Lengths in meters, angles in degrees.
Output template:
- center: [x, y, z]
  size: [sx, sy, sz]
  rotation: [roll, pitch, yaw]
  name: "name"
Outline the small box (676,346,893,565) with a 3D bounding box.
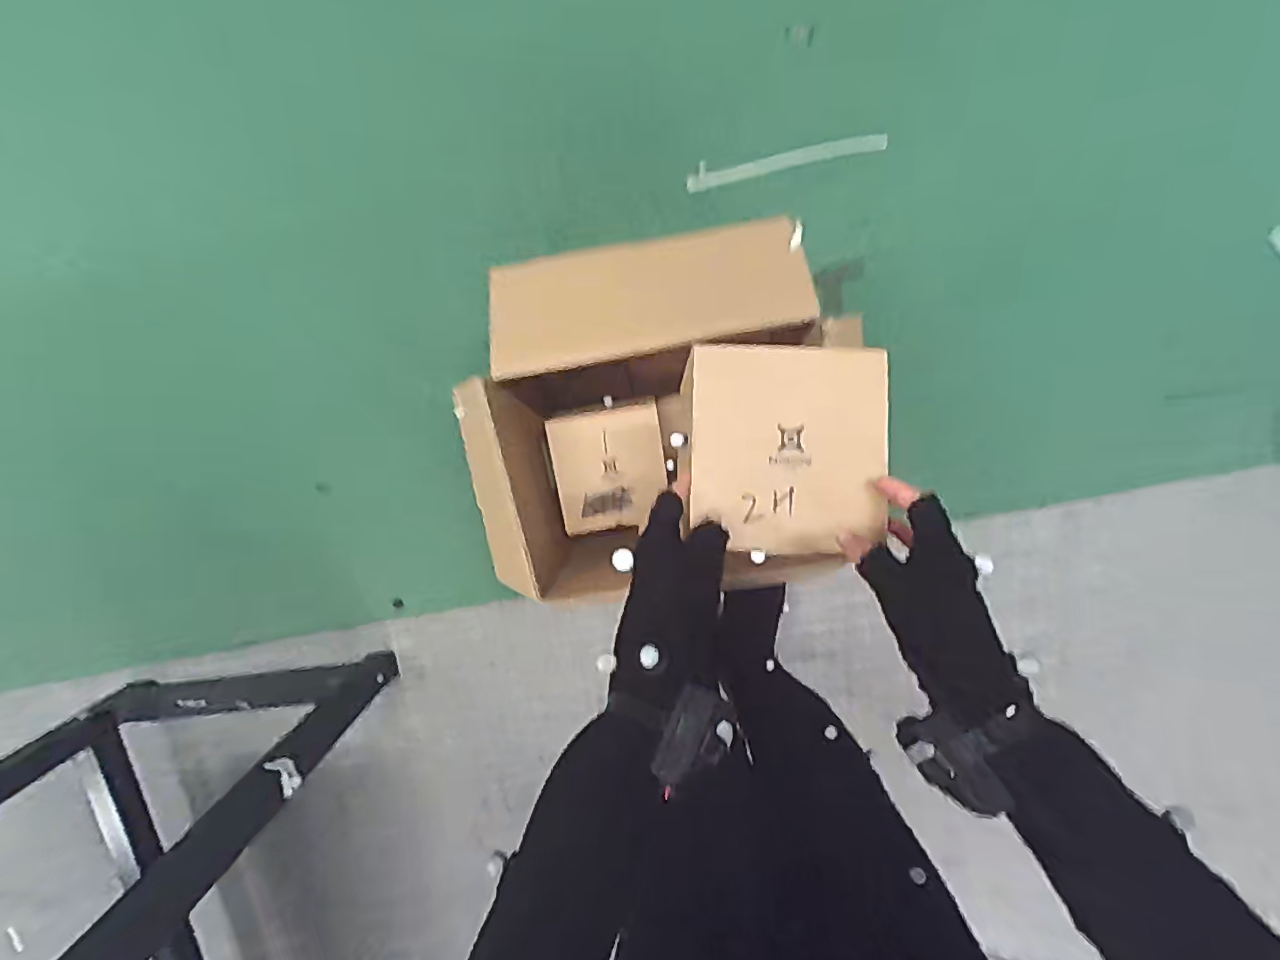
- center: [0.124, -0.016, 0.522]
  size: [0.168, 0.176, 0.179]
  rotation: [2, 87, 0]
  name: "small box"
